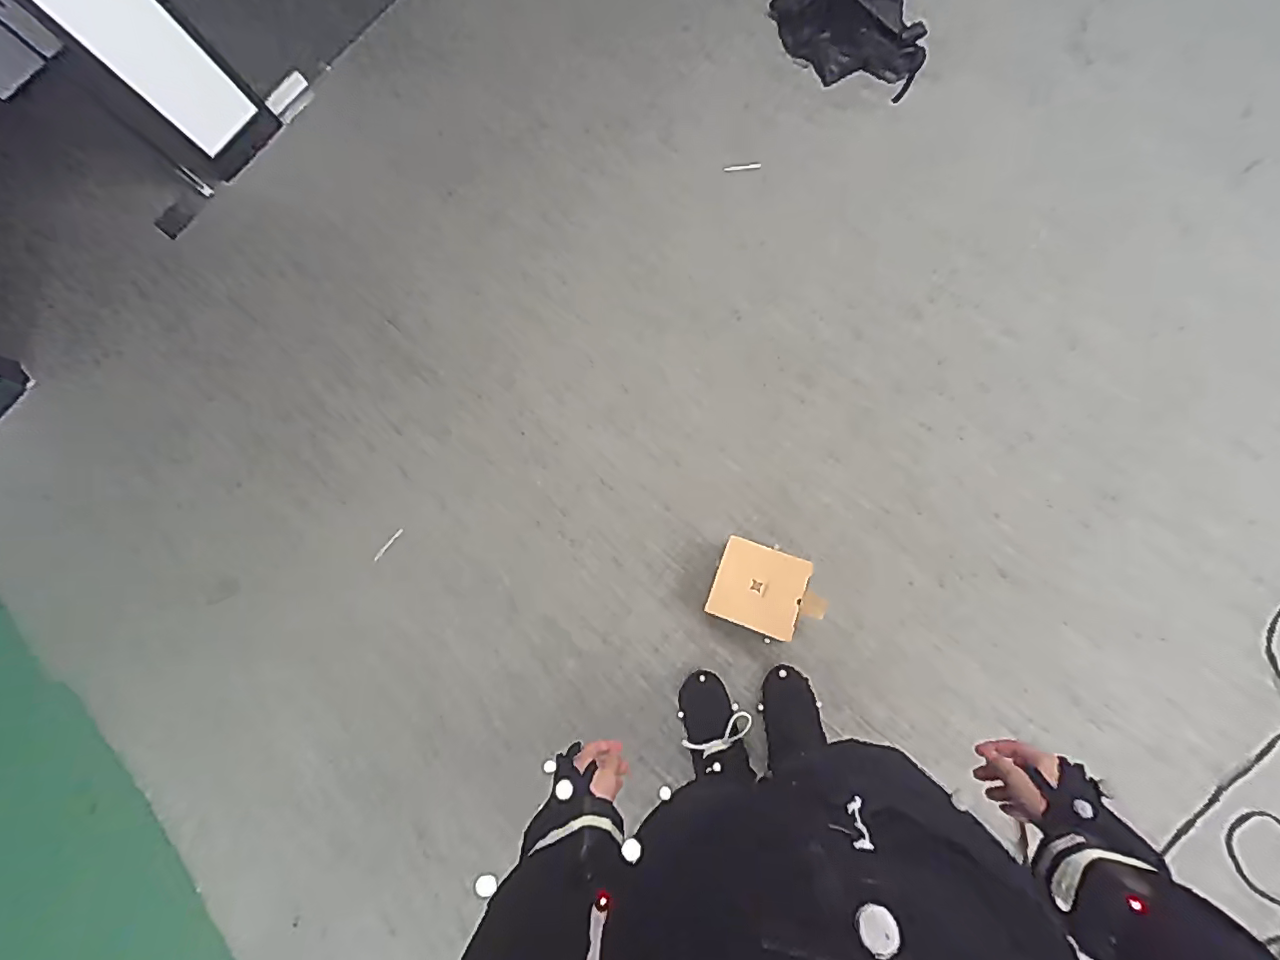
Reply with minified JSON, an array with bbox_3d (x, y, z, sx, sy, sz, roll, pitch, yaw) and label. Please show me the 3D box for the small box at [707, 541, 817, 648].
[{"bbox_3d":[0.254,0.246,1.144,0.179,0.176,0.168,18,79,14],"label":"small box"}]
